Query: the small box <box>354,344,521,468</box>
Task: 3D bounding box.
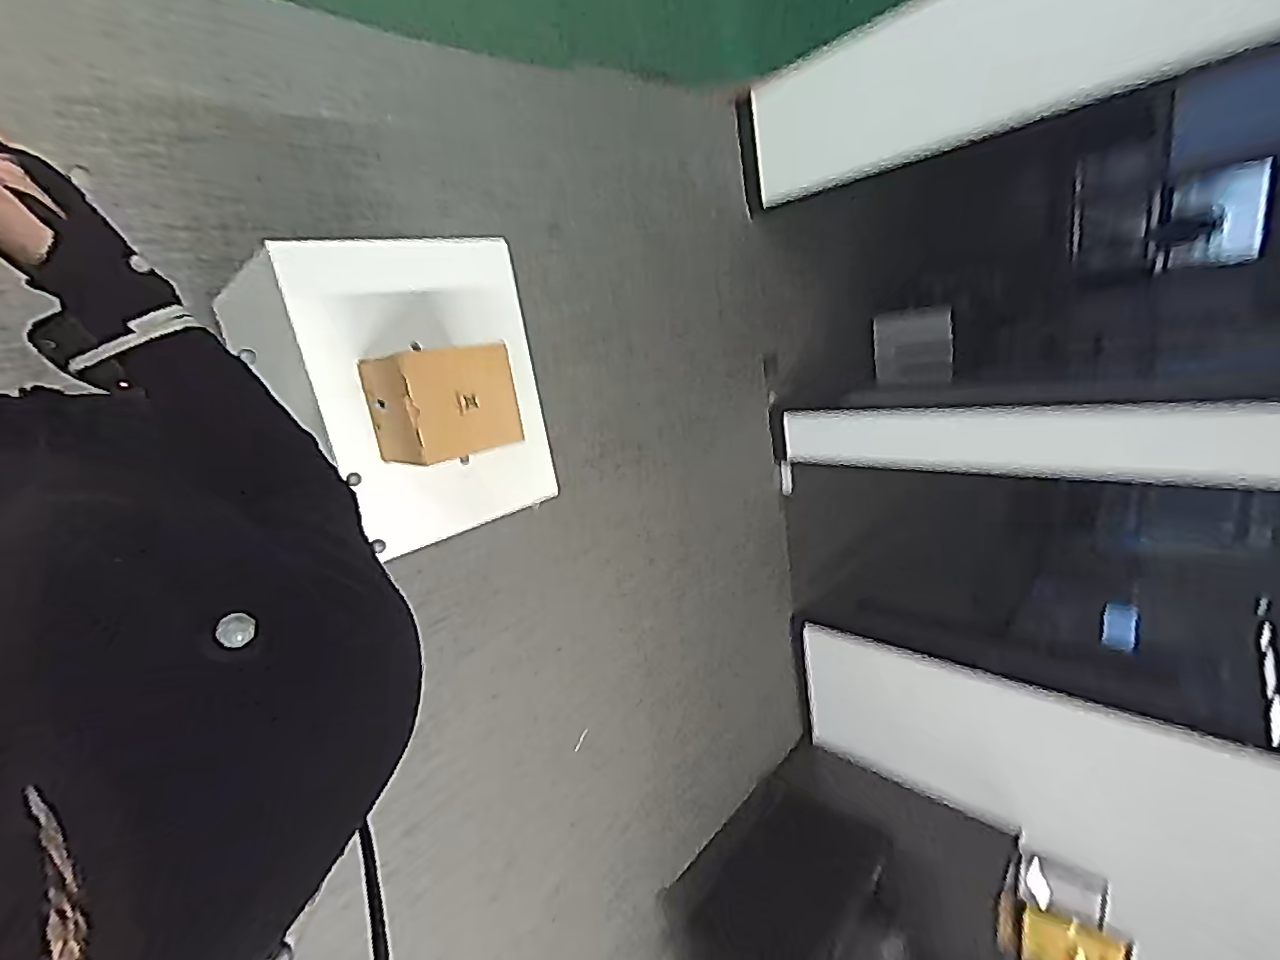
[{"bbox_3d":[-0.321,-0.122,0.862,0.179,0.176,0.168,-21,109,-43],"label":"small box"}]
